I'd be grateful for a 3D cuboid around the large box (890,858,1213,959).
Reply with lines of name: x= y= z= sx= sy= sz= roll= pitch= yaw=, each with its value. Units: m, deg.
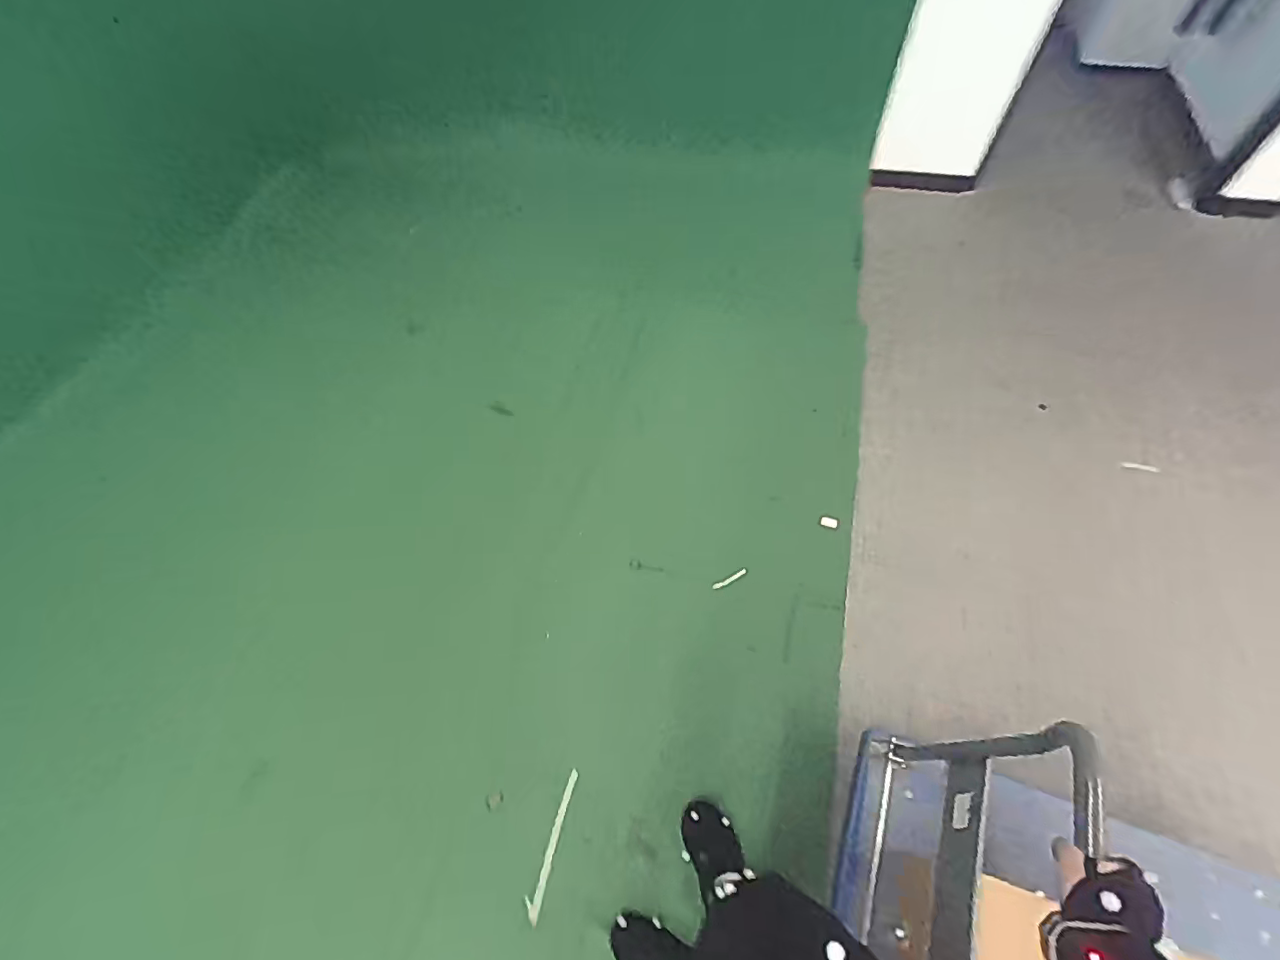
large box: x=0.670 y=0.882 z=0.893 sx=0.408 sy=0.320 sz=0.320 roll=16 pitch=62 yaw=12
